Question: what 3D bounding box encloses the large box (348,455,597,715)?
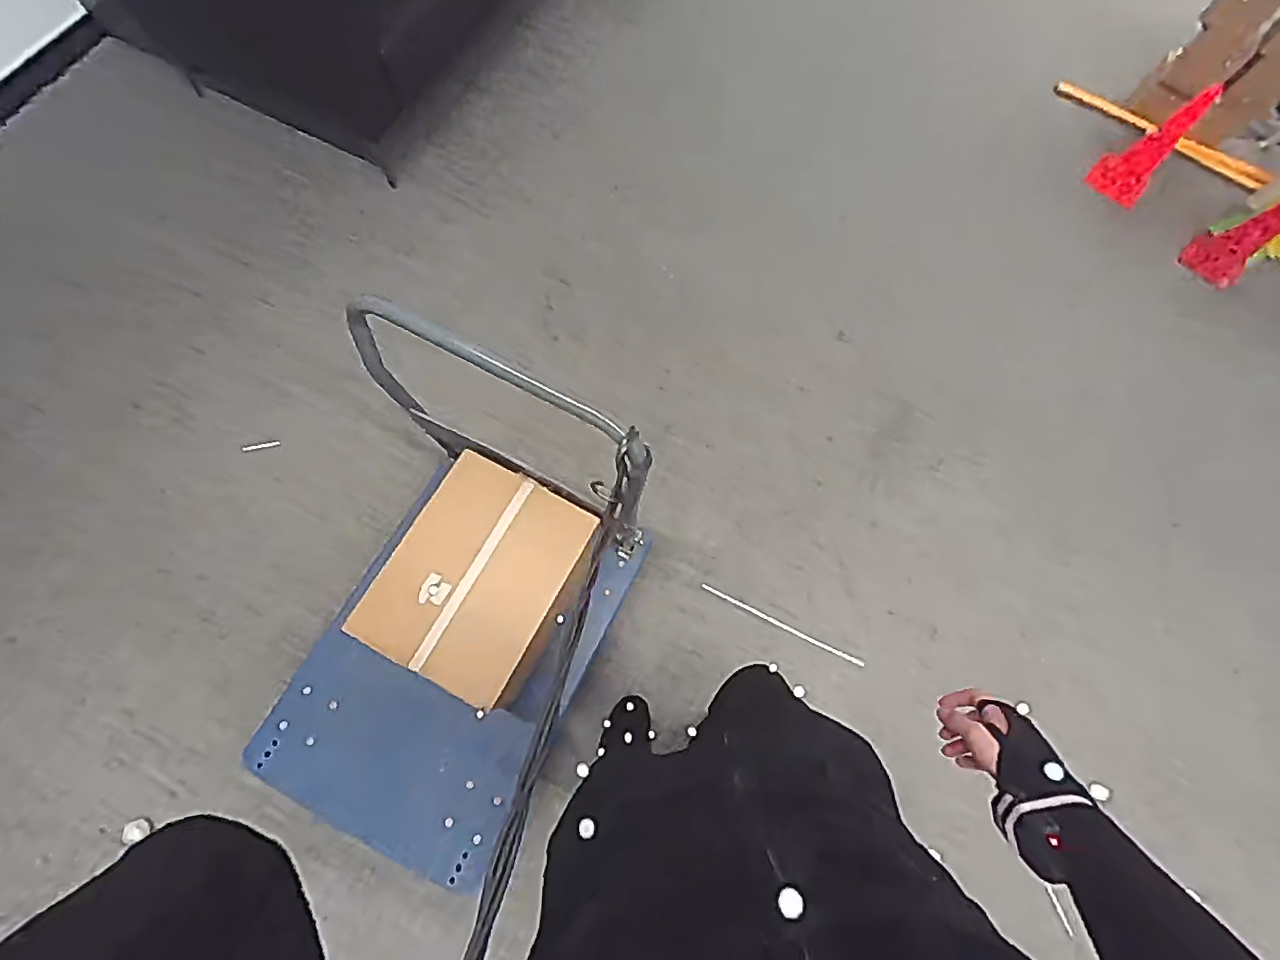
[{"bbox_3d":[-0.316,0.222,1.161,0.320,0.320,0.408,28,73,5],"label":"large box"}]
